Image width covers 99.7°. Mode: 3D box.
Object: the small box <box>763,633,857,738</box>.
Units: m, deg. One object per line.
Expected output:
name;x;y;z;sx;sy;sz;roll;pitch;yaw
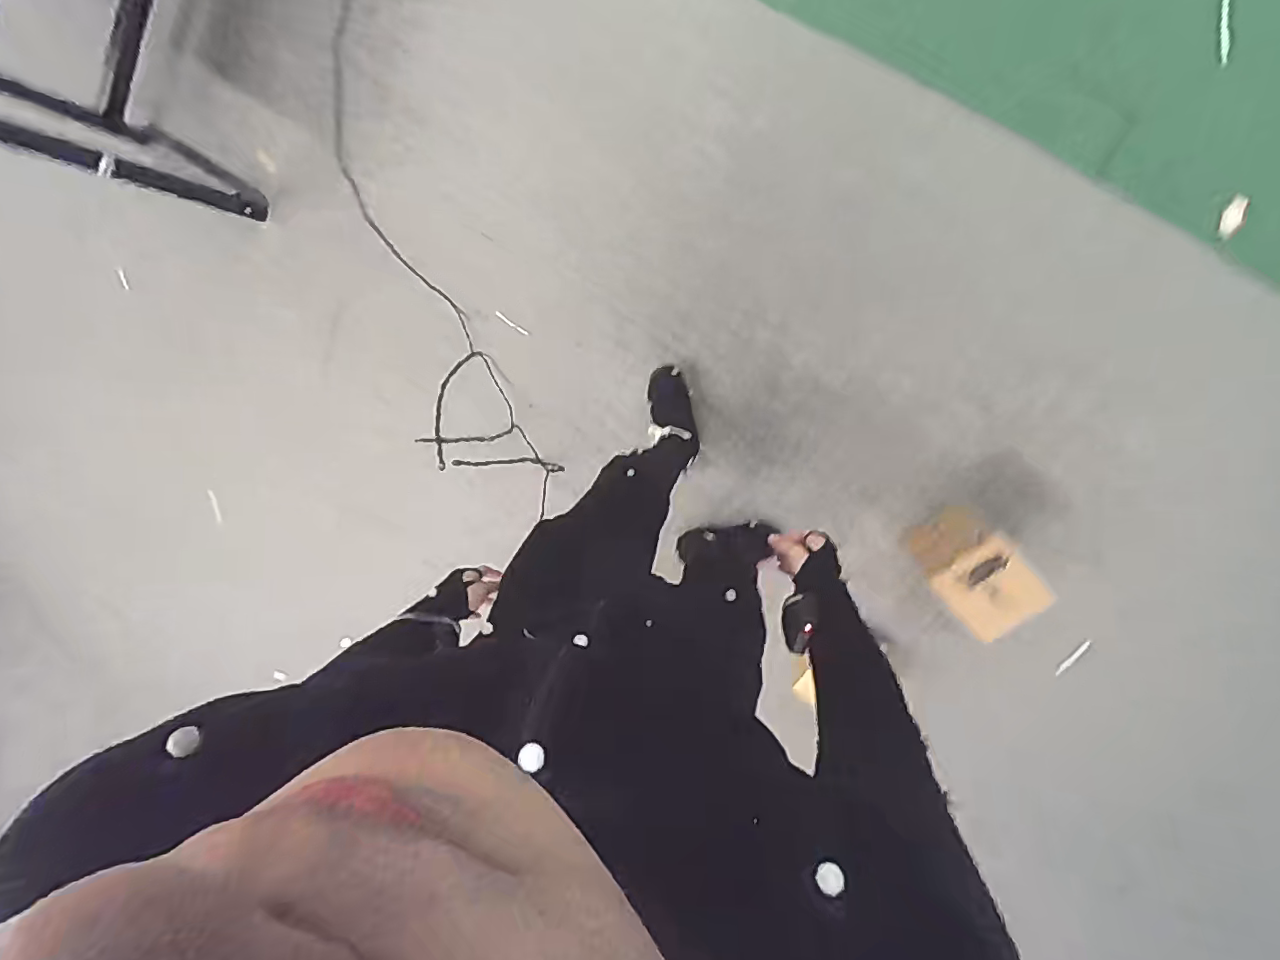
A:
small box;0.447;0.539;1.453;0.179;0.176;0.168;37;105;4
